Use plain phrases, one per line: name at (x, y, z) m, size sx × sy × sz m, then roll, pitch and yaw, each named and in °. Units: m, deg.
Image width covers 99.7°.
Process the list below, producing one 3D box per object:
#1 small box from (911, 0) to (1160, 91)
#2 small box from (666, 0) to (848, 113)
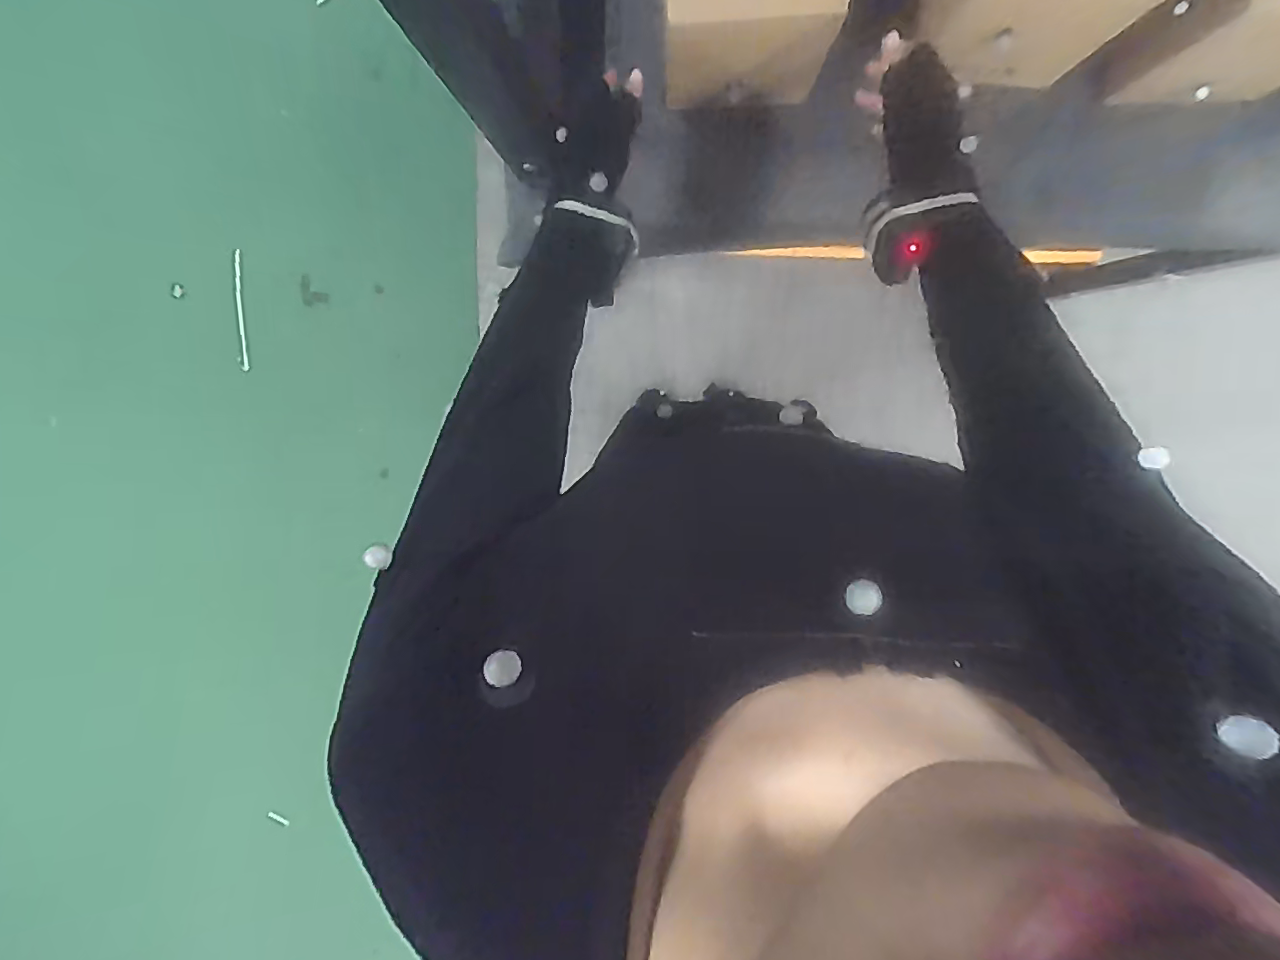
small box at (0.399, -0.530, 0.545) m, size 0.168 × 0.176 × 0.179 m, roll 6°, pitch 101°, yaw 2°
small box at (0.111, -0.518, 0.560) m, size 0.168 × 0.176 × 0.179 m, roll -1°, pitch 102°, yaw 3°
